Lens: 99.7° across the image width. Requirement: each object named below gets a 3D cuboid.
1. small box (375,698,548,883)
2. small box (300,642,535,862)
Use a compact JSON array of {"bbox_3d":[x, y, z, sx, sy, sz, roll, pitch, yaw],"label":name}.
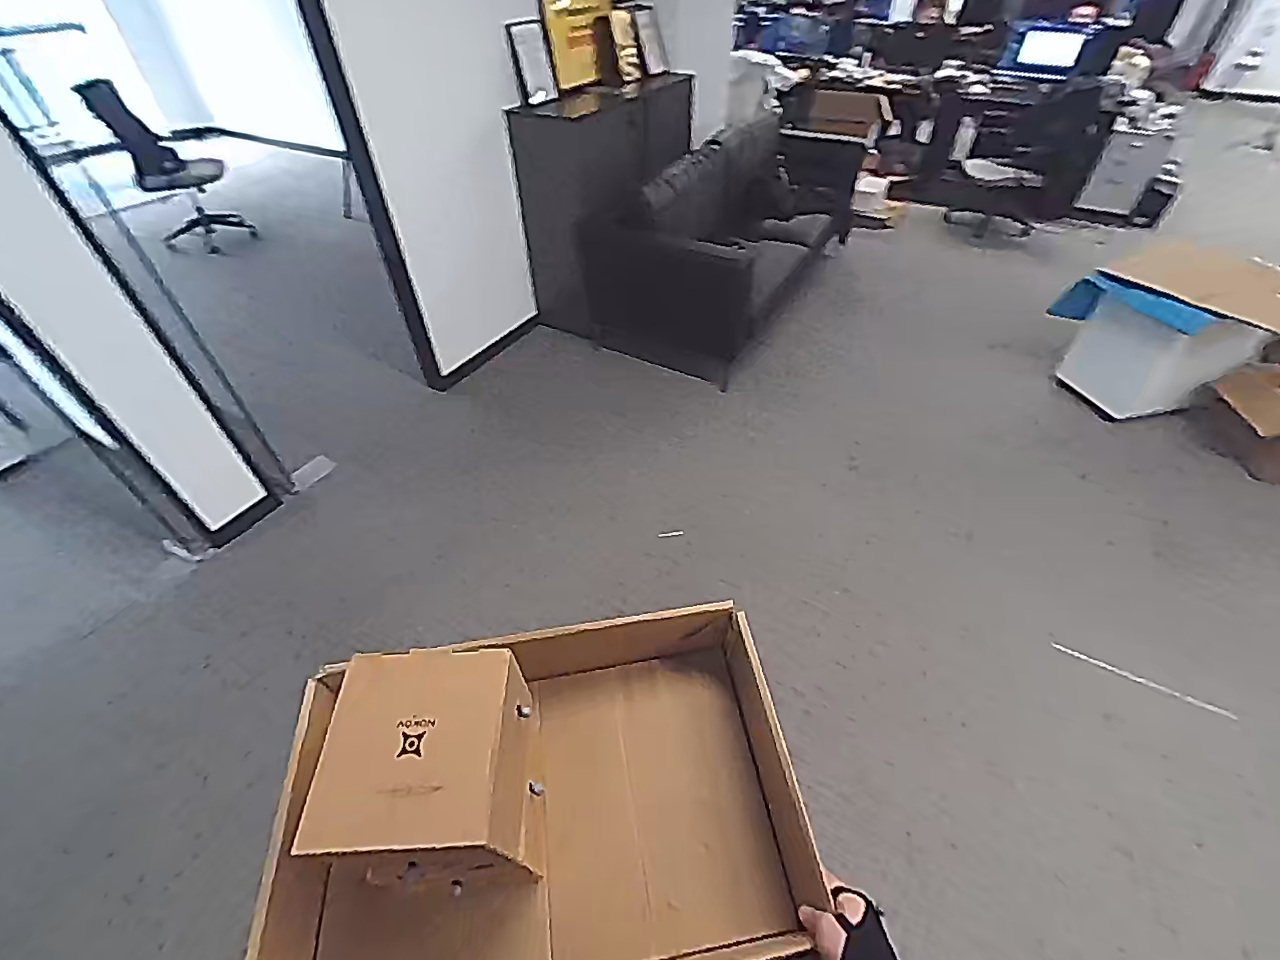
[{"bbox_3d":[-0.211,0.399,0.694,0.168,0.176,0.179,-3,51,-4],"label":"small box"},{"bbox_3d":[-0.210,0.289,0.572,0.168,0.176,0.179,-1,51,-1],"label":"small box"}]
